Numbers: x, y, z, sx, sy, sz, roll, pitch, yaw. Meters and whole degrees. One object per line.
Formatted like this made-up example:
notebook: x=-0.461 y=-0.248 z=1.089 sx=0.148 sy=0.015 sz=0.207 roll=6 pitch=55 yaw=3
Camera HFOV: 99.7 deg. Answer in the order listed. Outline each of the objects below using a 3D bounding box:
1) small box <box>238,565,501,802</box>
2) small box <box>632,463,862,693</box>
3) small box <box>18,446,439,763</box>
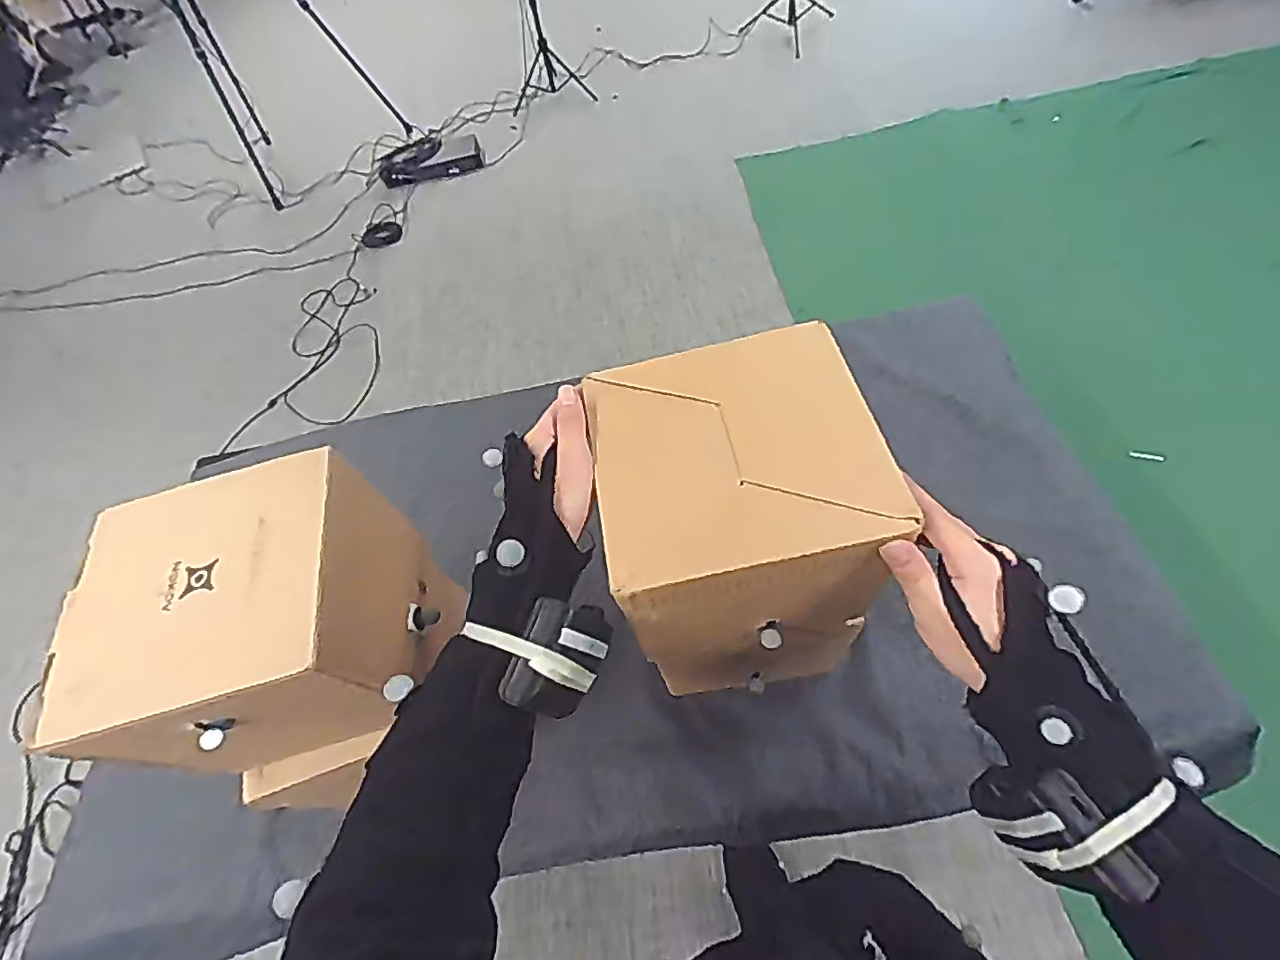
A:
small box: x=-0.256 y=0.203 z=0.545 sx=0.168 sy=0.176 sz=0.179 roll=-20 pitch=58 yaw=-3
small box: x=0.095 y=0.106 z=0.548 sx=0.179 sy=0.176 sz=0.168 roll=-10 pitch=58 yaw=2
small box: x=-0.277 y=0.105 z=0.416 sx=0.179 sy=0.176 sz=0.168 roll=-16 pitch=59 yaw=-2
